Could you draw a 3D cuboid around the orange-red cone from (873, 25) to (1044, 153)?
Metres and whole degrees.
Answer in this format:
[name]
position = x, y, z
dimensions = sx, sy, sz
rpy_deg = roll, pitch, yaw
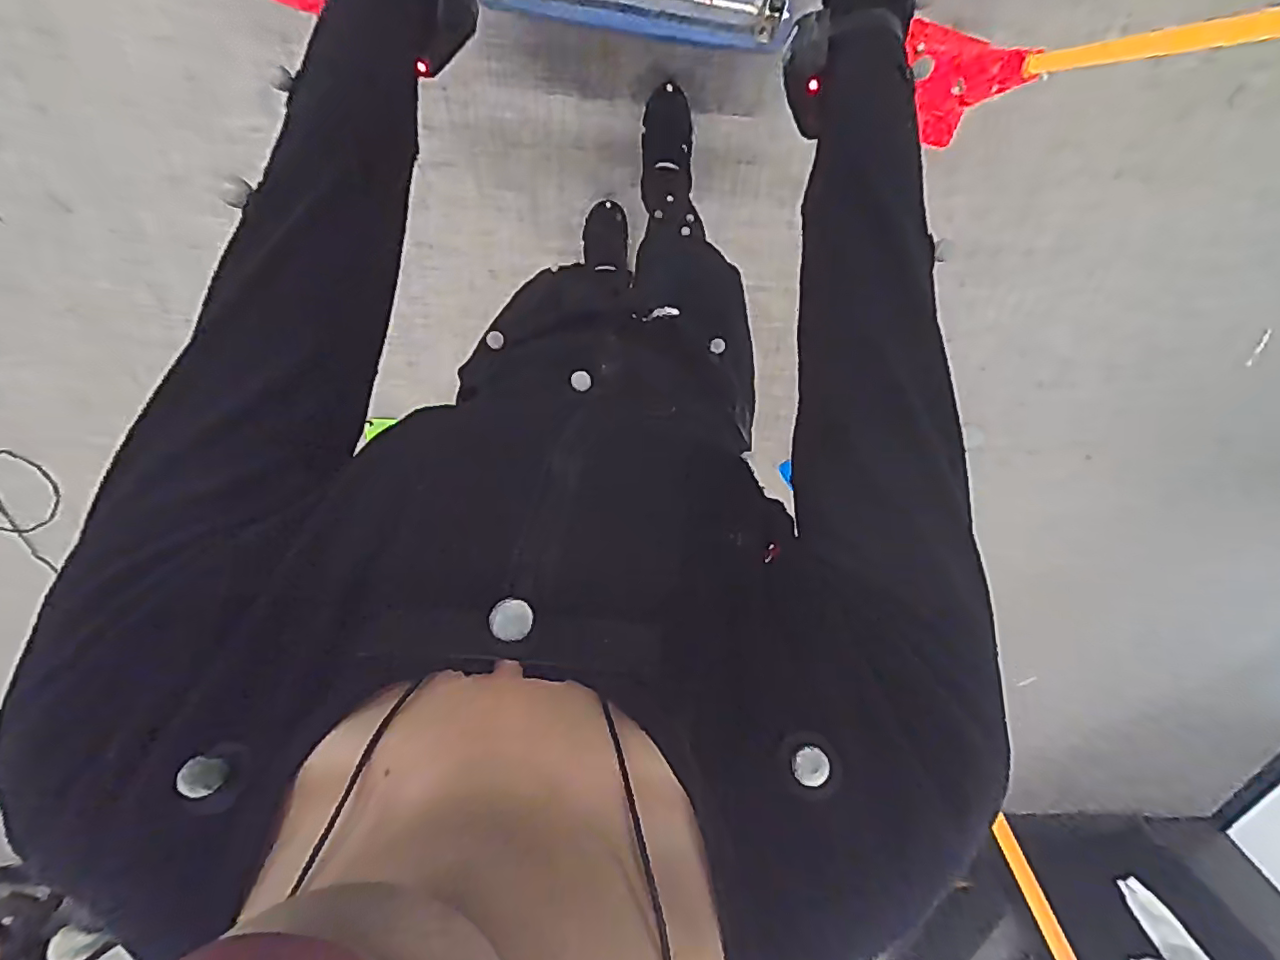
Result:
[orange-red cone]
position = 0.634, -0.756, 1.028
dimensions = 0.198, 0.360, 0.199
rpy_deg = 12, 120, -9
